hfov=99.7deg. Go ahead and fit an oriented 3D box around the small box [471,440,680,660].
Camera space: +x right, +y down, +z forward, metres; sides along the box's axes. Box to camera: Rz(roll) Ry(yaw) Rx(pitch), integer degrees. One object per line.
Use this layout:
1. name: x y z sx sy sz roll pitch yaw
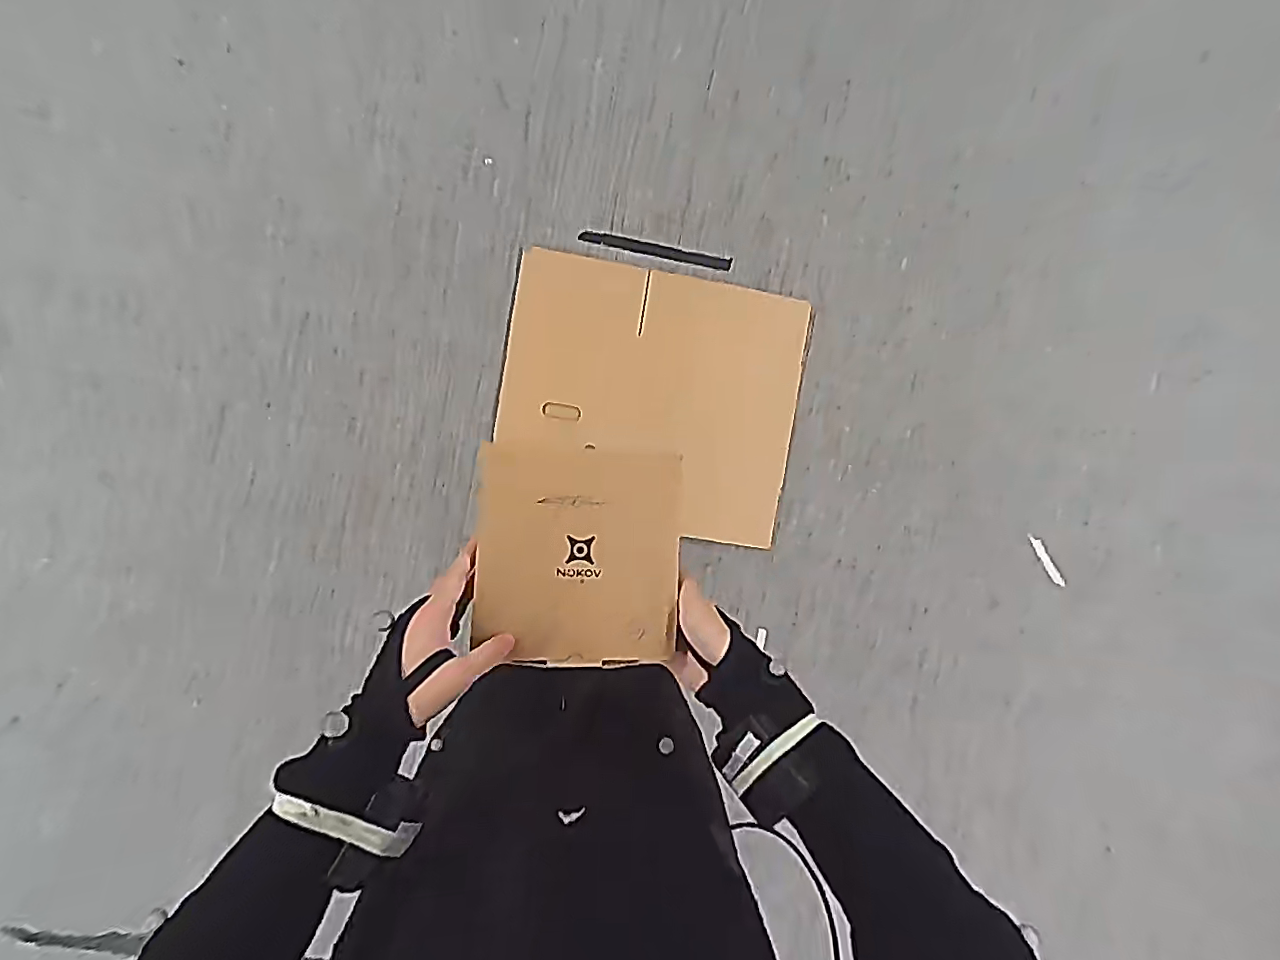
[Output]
1. small box: -0.063 0.062 0.520 0.168 0.176 0.179 2 86 -10
